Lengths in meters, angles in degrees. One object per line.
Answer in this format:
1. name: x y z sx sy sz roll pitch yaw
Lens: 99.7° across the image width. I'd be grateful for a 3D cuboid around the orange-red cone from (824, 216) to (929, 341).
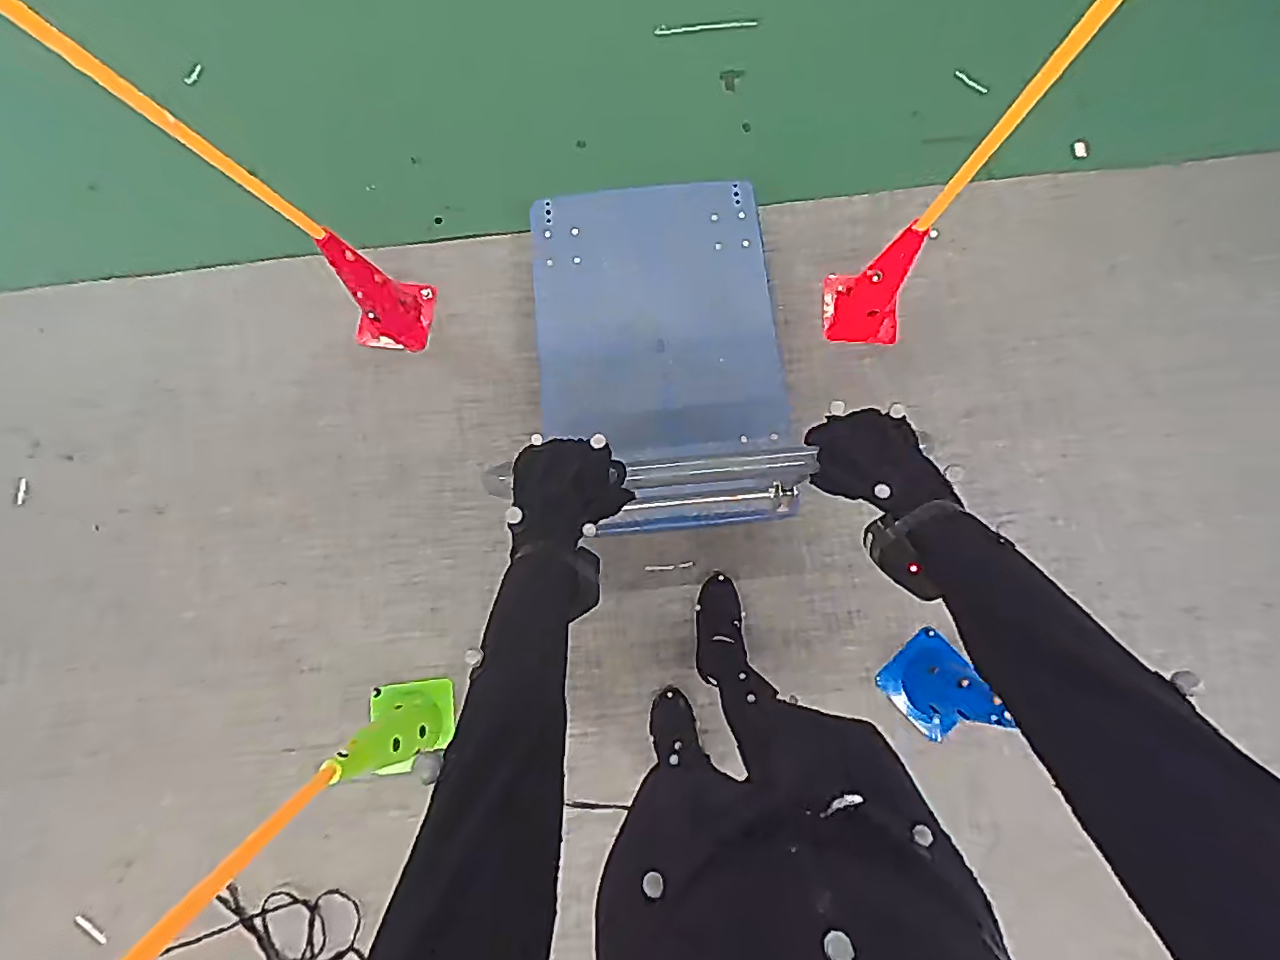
1. orange-red cone: 0.603 -0.510 1.320 0.198 0.360 0.199 5 79 3
